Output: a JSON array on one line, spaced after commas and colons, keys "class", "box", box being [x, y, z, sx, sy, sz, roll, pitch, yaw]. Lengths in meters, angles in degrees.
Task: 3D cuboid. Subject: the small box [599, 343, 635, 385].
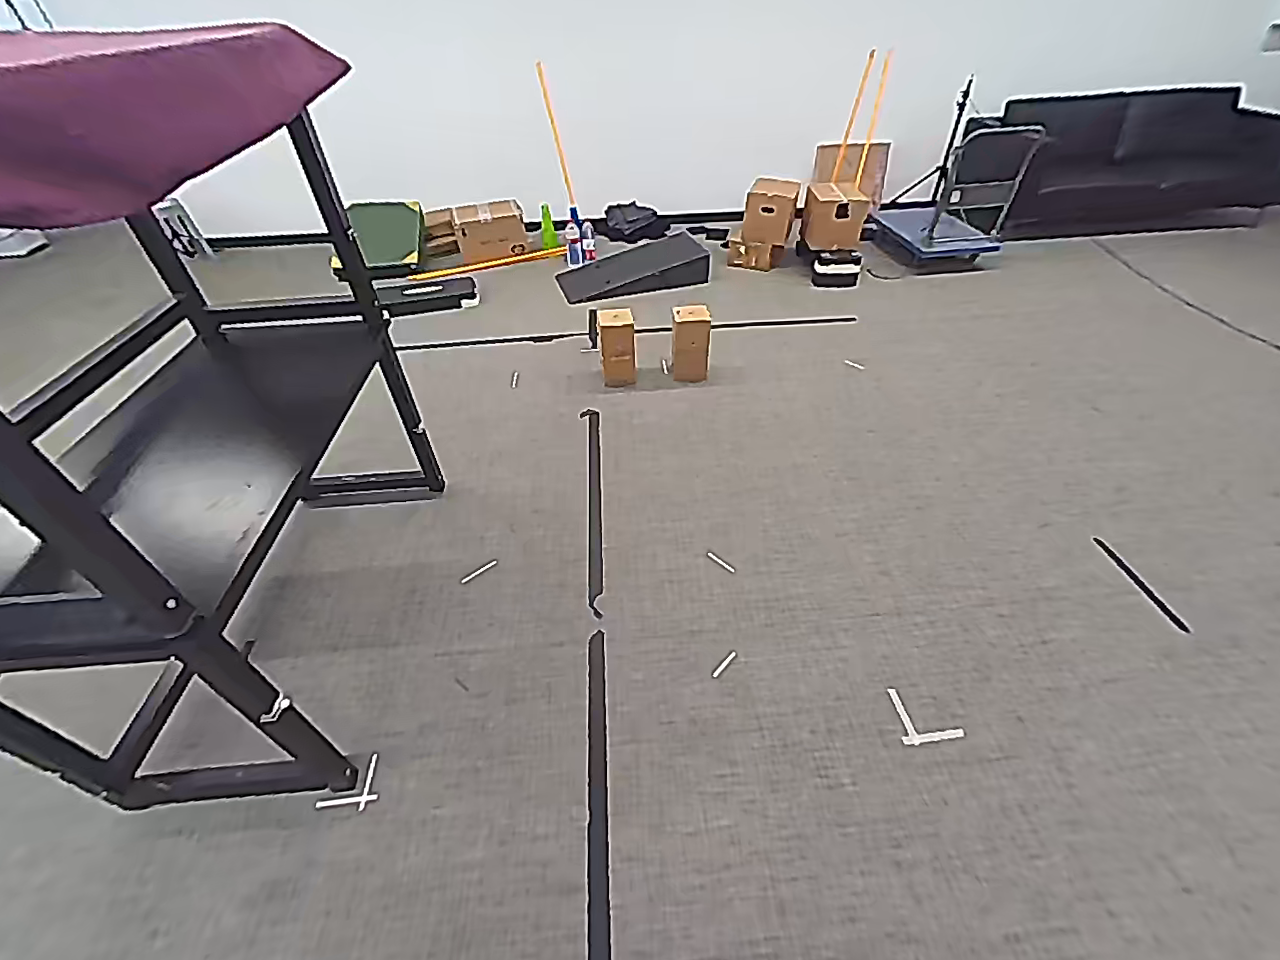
[{"class": "small box", "box": [-0.118, -0.602, 2.797, 0.168, 0.176, 0.179, -7, 42, -7]}]

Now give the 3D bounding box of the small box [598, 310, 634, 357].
[{"class": "small box", "box": [-0.120, -0.730, 2.693, 0.168, 0.176, 0.179, -6, 42, -5]}]

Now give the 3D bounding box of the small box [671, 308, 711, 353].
[{"class": "small box", "box": [0.252, -0.750, 2.711, 0.179, 0.176, 0.168, -2, 41, -2]}]

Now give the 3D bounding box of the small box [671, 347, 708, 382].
[{"class": "small box", "box": [0.256, -0.627, 2.819, 0.179, 0.176, 0.168, -2, 42, 0]}]
